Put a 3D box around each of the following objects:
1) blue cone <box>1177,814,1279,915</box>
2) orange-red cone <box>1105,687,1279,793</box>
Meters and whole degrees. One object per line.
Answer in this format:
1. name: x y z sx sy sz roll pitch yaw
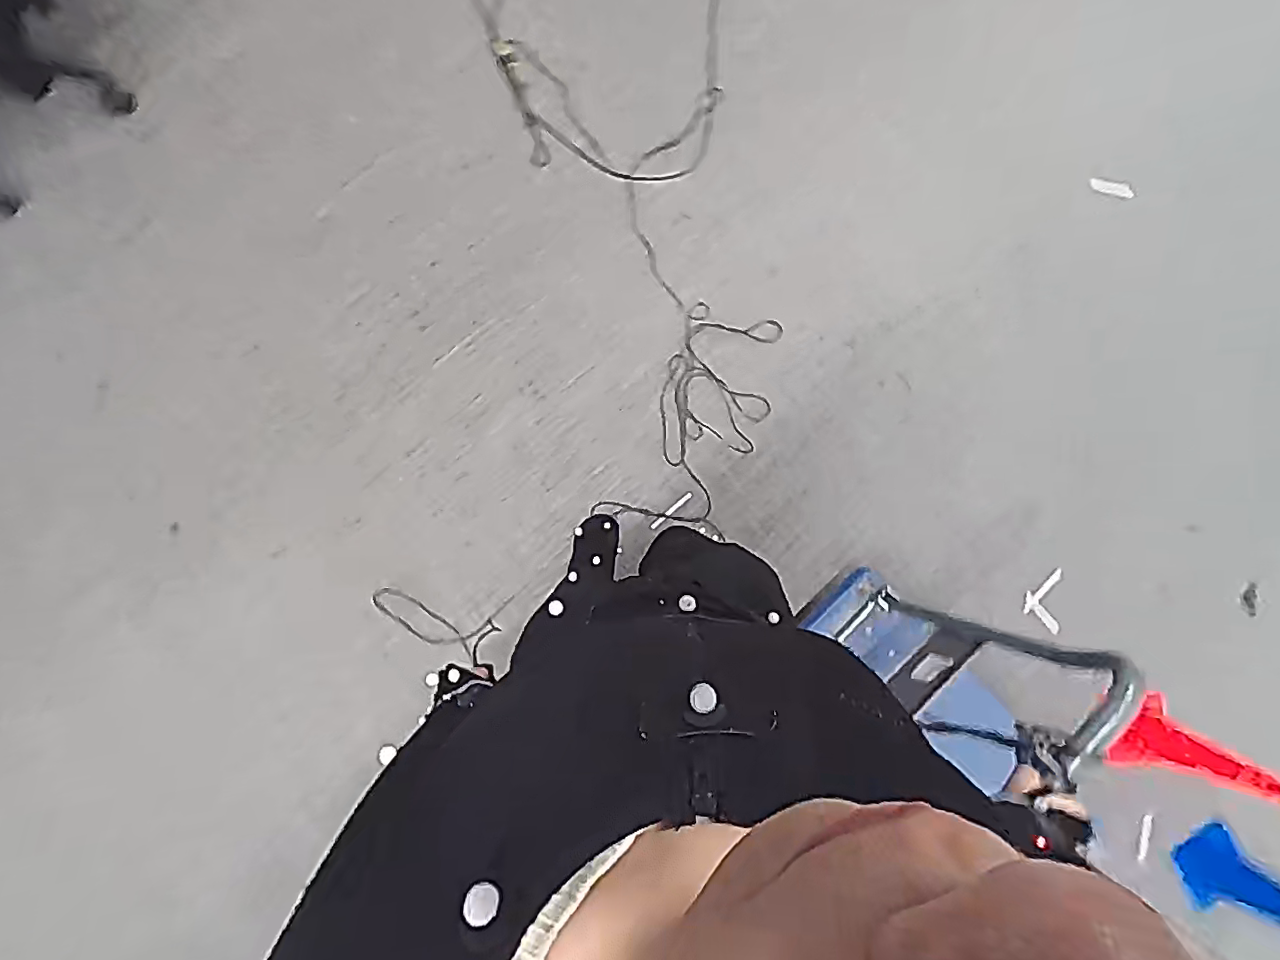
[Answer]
1. blue cone: 1.630 1.054 1.354 0.193 0.380 0.192 -27 90 -6
2. orange-red cone: 1.400 0.676 1.330 0.198 0.360 0.199 4 89 -5
